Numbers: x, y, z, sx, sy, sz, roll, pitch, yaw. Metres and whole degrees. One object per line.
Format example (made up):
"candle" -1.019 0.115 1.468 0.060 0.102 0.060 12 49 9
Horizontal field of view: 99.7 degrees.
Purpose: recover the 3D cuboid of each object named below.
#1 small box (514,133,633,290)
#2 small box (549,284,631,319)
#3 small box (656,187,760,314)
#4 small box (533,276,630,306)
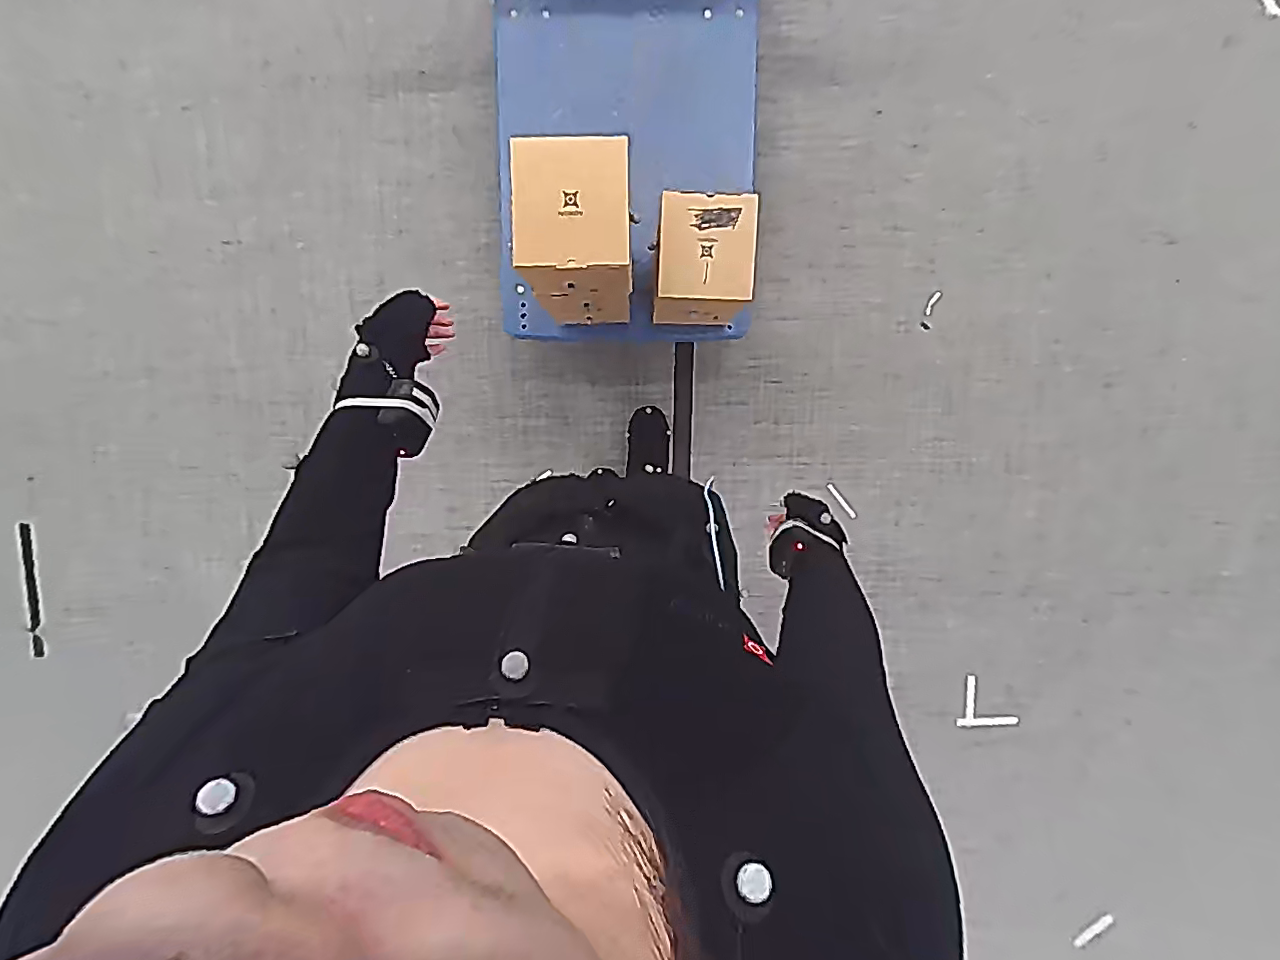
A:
"small box" -0.095 -0.403 0.836 0.168 0.176 0.179 -1 98 0
"small box" -0.103 -0.445 1.161 0.168 0.176 0.179 -1 97 0
"small box" 0.117 -0.414 0.999 0.168 0.176 0.179 2 98 0
"small box" -0.104 -0.421 0.998 0.168 0.176 0.179 -3 99 0
